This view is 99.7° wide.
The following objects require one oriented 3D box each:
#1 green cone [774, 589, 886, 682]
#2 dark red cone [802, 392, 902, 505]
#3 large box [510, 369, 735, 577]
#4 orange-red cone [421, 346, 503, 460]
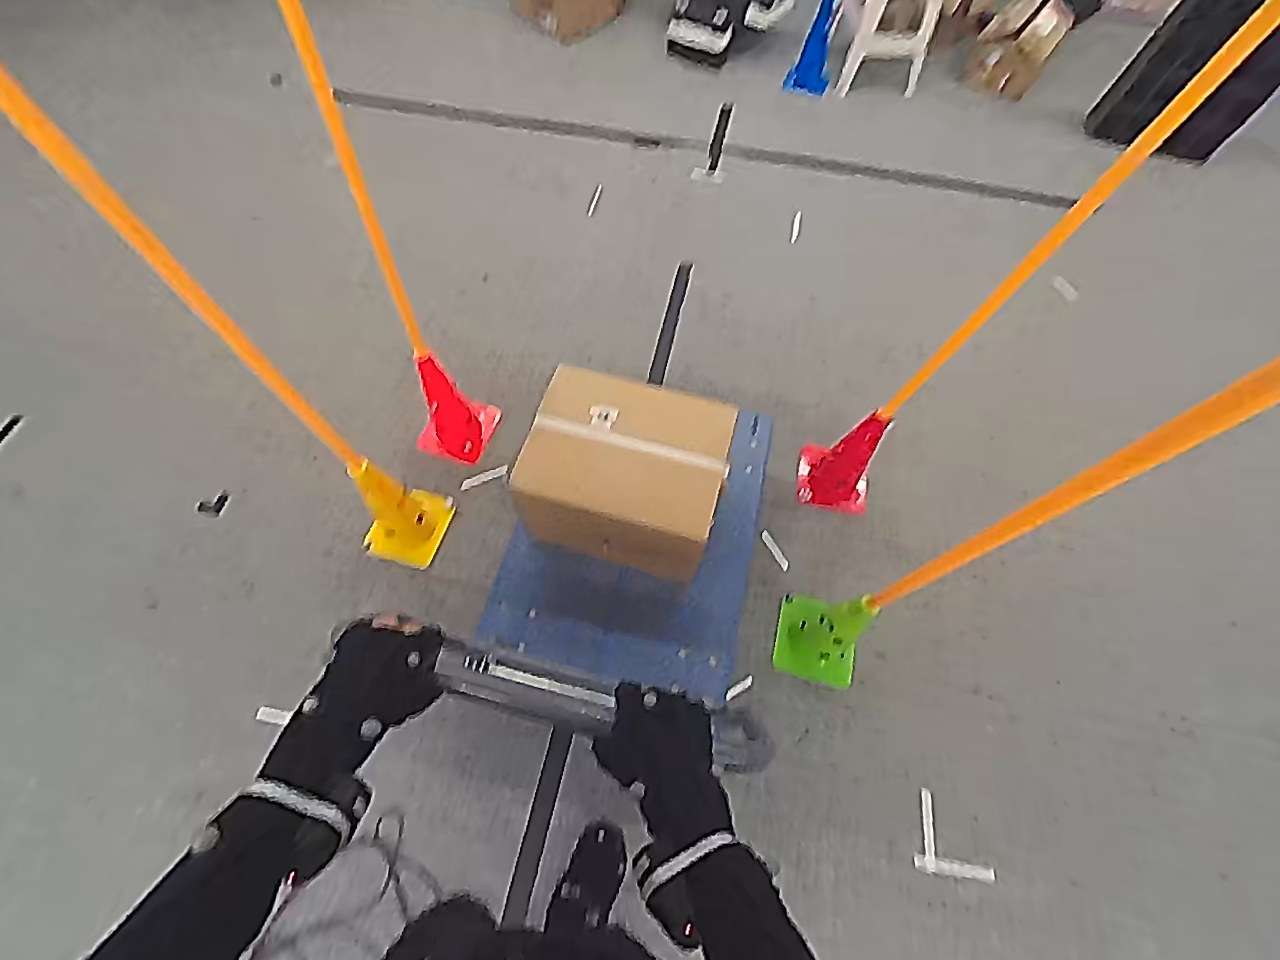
[{"bbox_3d":[0.464,0.322,1.246,0.202,0.368,0.200,16,64,5],"label":"green cone"},{"bbox_3d":[0.586,-0.104,1.443,0.201,0.394,0.202,12,64,3],"label":"dark red cone"},{"bbox_3d":[-0.026,-0.003,1.238,0.408,0.320,0.320,15,65,7],"label":"large box"},{"bbox_3d":[-0.537,-0.243,1.507,0.198,0.360,0.199,19,63,7],"label":"orange-red cone"}]
